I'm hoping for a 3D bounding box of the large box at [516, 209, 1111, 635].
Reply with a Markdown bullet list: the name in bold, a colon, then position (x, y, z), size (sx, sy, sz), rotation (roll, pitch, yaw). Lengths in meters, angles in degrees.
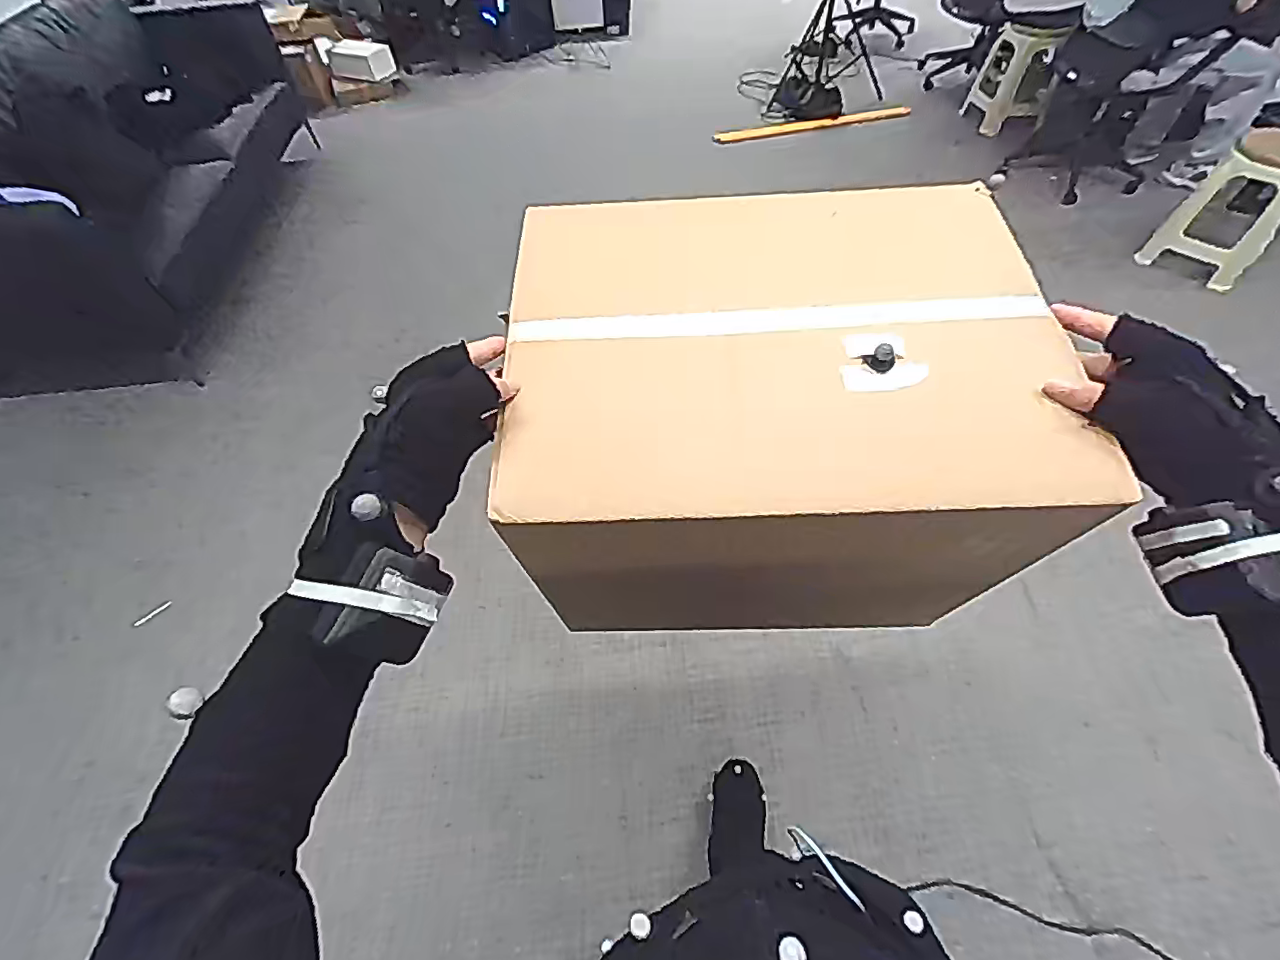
- **large box**: position (0.113, -0.037, 0.558), size (0.408, 0.320, 0.320), rotation (-2, 61, 1)
